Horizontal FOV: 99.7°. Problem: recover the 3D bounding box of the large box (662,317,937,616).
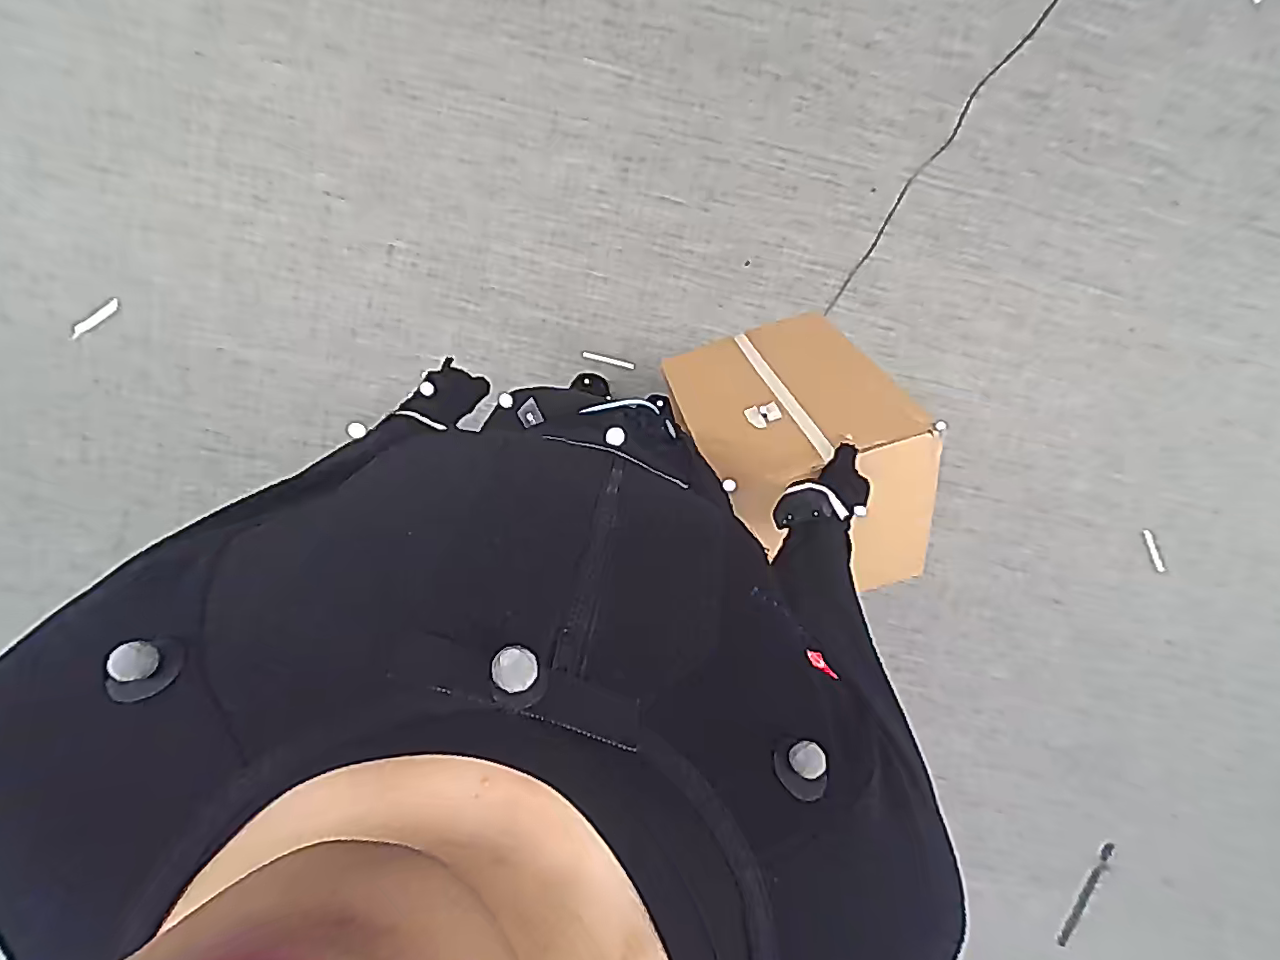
[{"bbox_3d":[0.255,-0.035,0.979,0.320,0.408,0.320,-17,131,2],"label":"large box"}]
